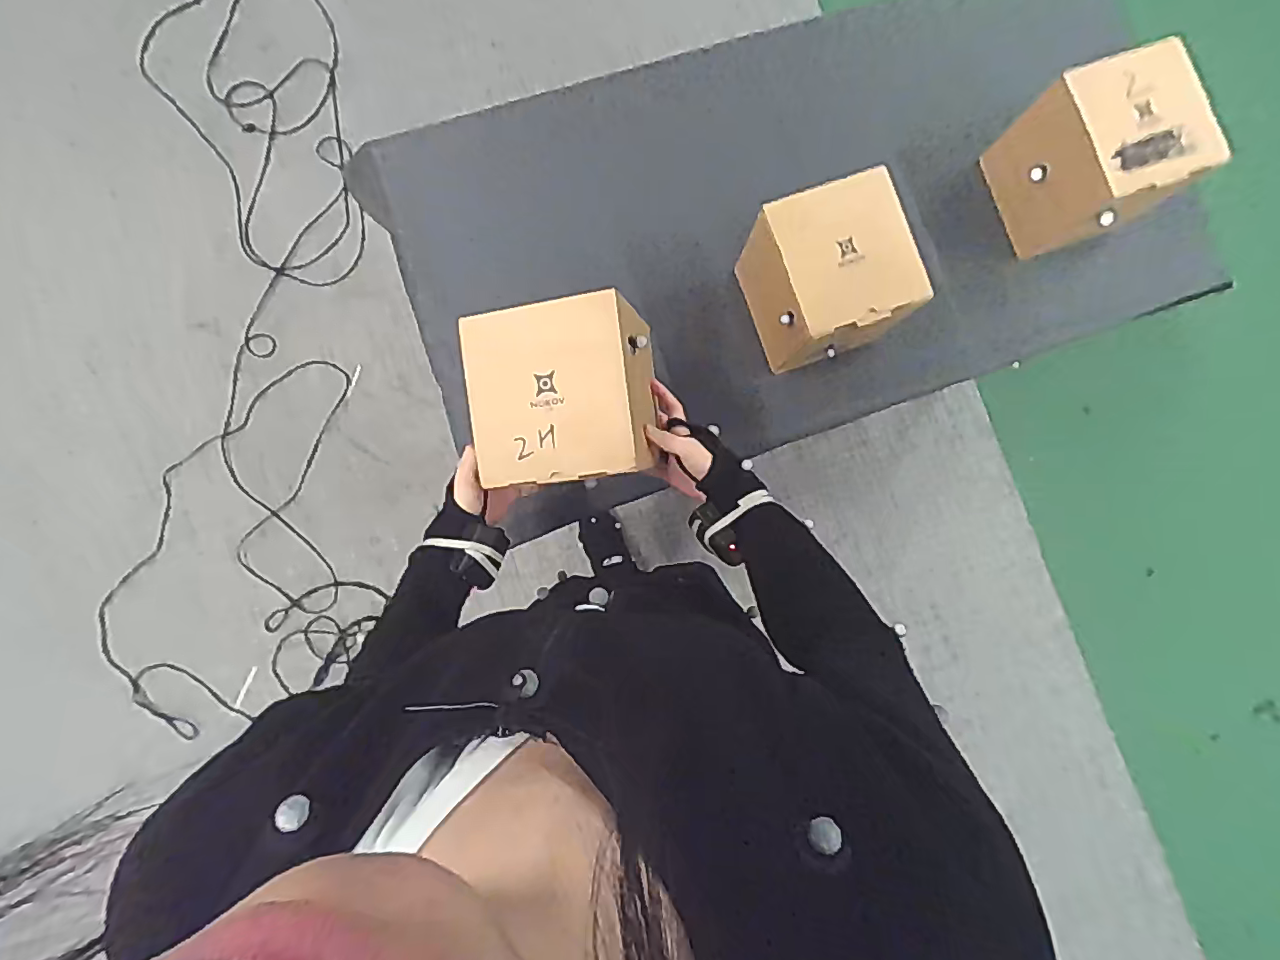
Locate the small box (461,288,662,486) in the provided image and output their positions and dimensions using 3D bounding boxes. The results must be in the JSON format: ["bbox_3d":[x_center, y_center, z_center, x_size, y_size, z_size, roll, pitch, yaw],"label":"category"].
[{"bbox_3d":[-0.074,-0.091,0.597,0.168,0.176,0.179,-6,93,12],"label":"small box"}]

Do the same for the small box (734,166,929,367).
[{"bbox_3d":[0.244,-0.276,0.735,0.168,0.176,0.179,-20,89,-4],"label":"small box"}]
